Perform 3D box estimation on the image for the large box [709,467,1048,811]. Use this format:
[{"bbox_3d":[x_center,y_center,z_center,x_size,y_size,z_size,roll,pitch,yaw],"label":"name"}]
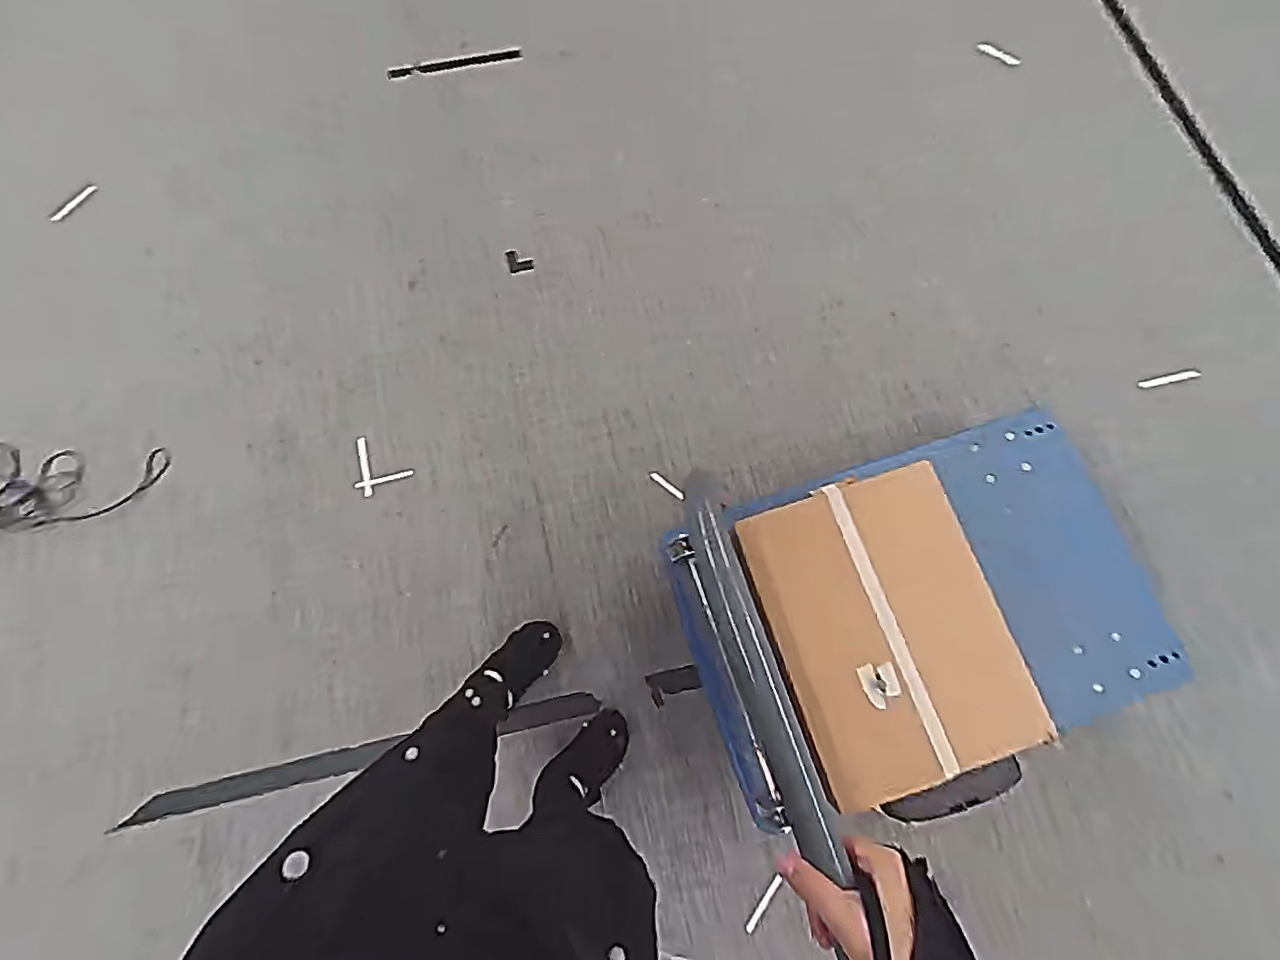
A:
[{"bbox_3d":[0.342,0.240,0.904,0.320,0.320,0.408,-18,77,-3],"label":"large box"}]
